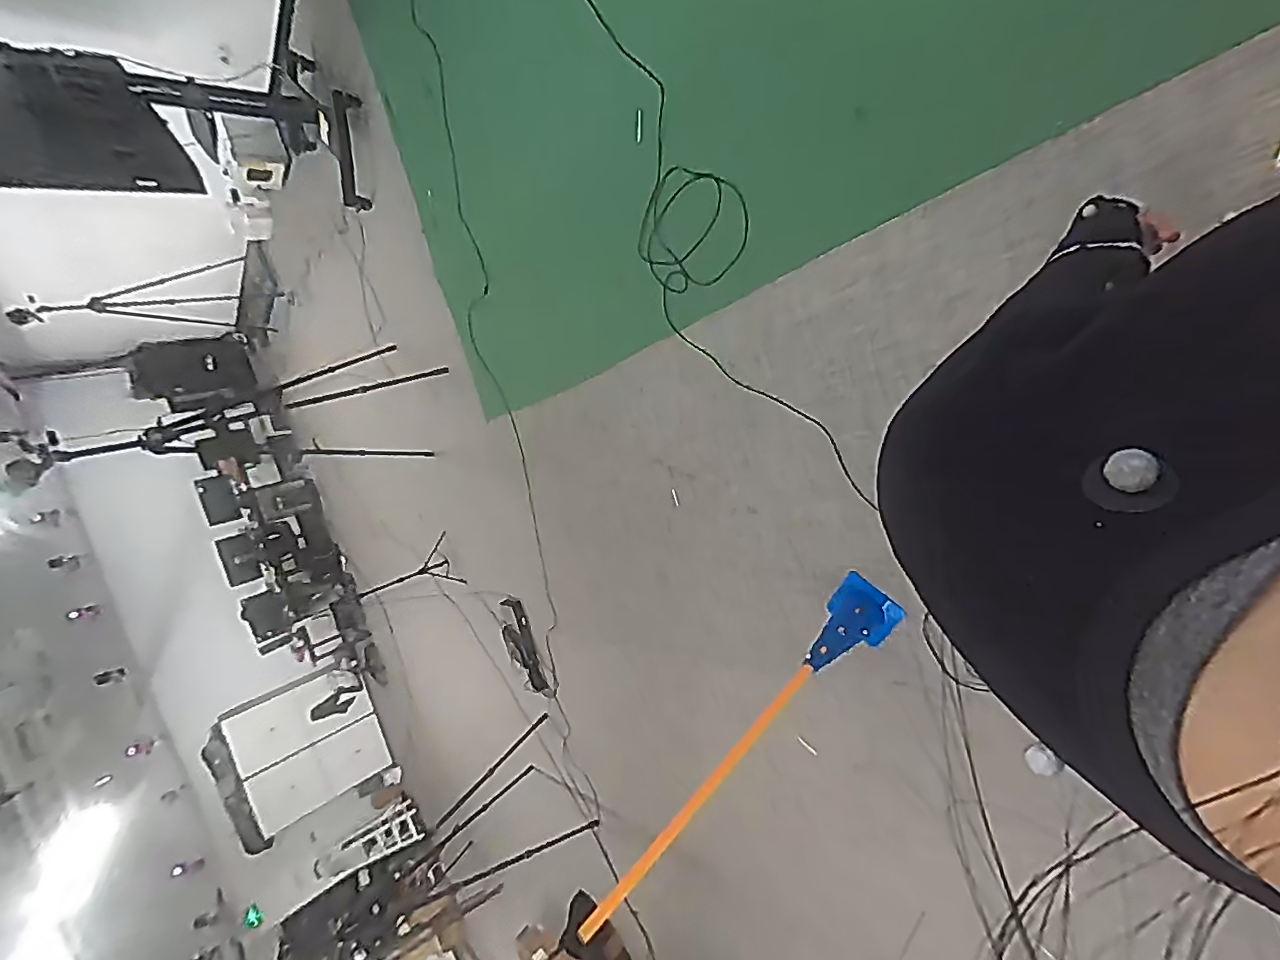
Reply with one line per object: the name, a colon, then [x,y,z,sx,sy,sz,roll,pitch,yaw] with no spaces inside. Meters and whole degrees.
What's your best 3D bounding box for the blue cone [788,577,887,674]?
blue cone: [0.570,0.478,1.636,0.192,0.380,0.193,39,134,28]
